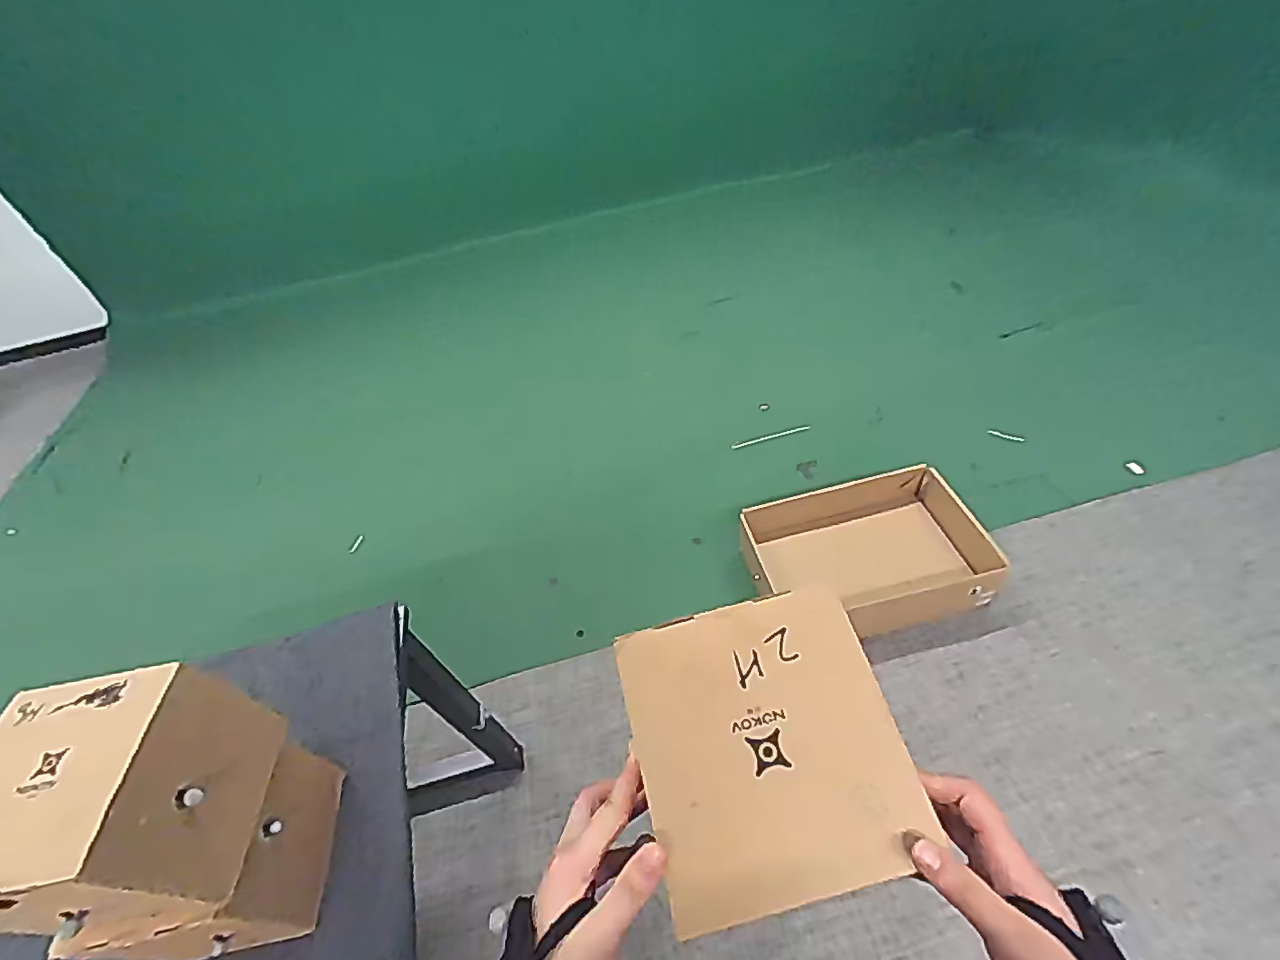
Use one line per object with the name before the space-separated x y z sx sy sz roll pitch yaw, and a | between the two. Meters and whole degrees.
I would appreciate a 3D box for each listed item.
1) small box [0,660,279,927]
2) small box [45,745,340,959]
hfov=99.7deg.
small box | -0.484 0.296 0.505 0.168 0.176 0.179 -11 47 1
small box | -0.475 0.419 0.615 0.168 0.176 0.179 -12 46 -1
